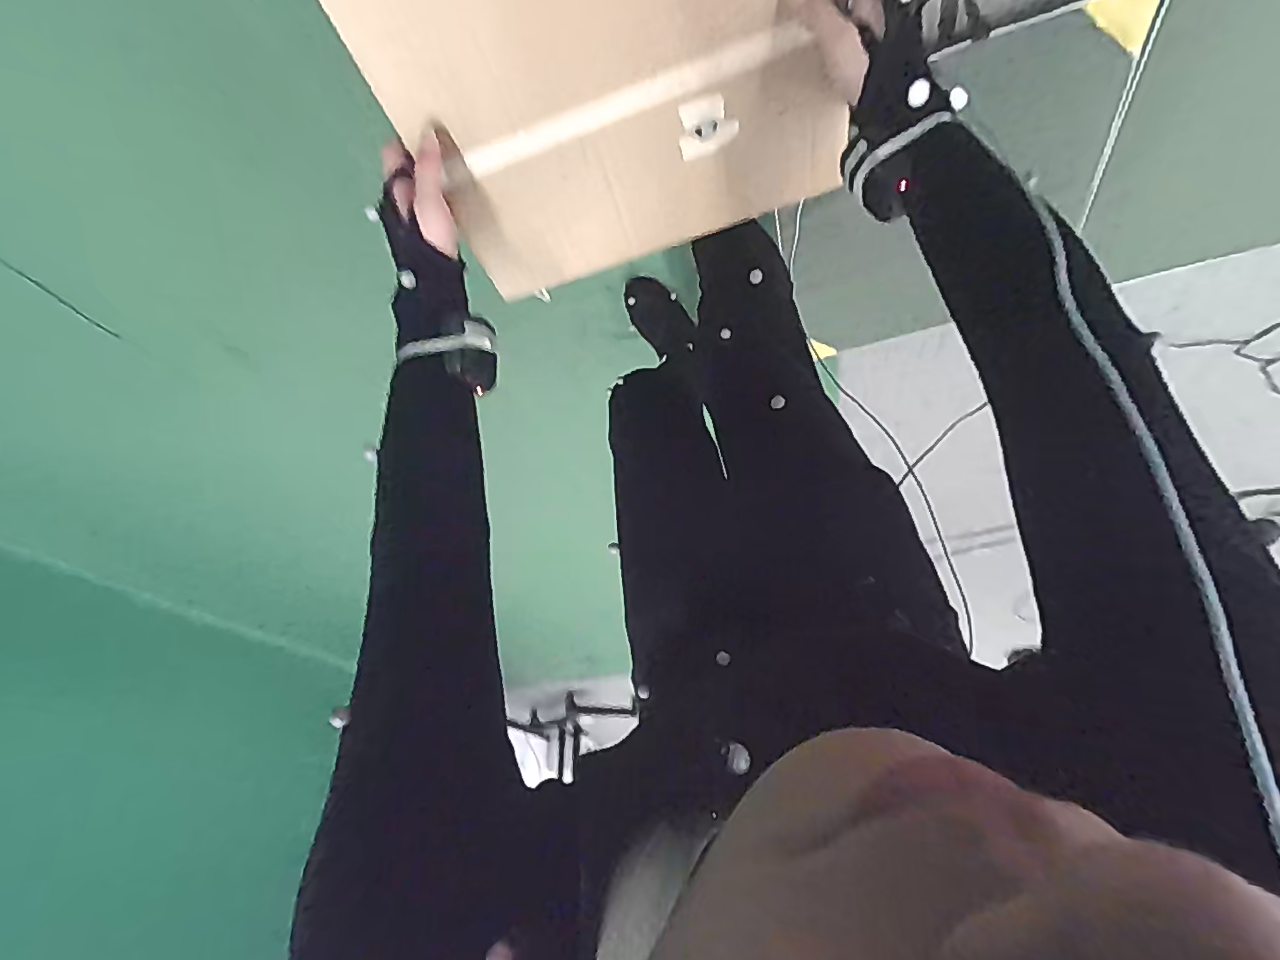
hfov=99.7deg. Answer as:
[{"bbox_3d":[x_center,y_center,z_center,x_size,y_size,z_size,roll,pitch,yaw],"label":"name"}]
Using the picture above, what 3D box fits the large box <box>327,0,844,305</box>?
[{"bbox_3d":[-0.035,-0.465,0.586,0.408,0.320,0.320,-17,144,9],"label":"large box"}]
